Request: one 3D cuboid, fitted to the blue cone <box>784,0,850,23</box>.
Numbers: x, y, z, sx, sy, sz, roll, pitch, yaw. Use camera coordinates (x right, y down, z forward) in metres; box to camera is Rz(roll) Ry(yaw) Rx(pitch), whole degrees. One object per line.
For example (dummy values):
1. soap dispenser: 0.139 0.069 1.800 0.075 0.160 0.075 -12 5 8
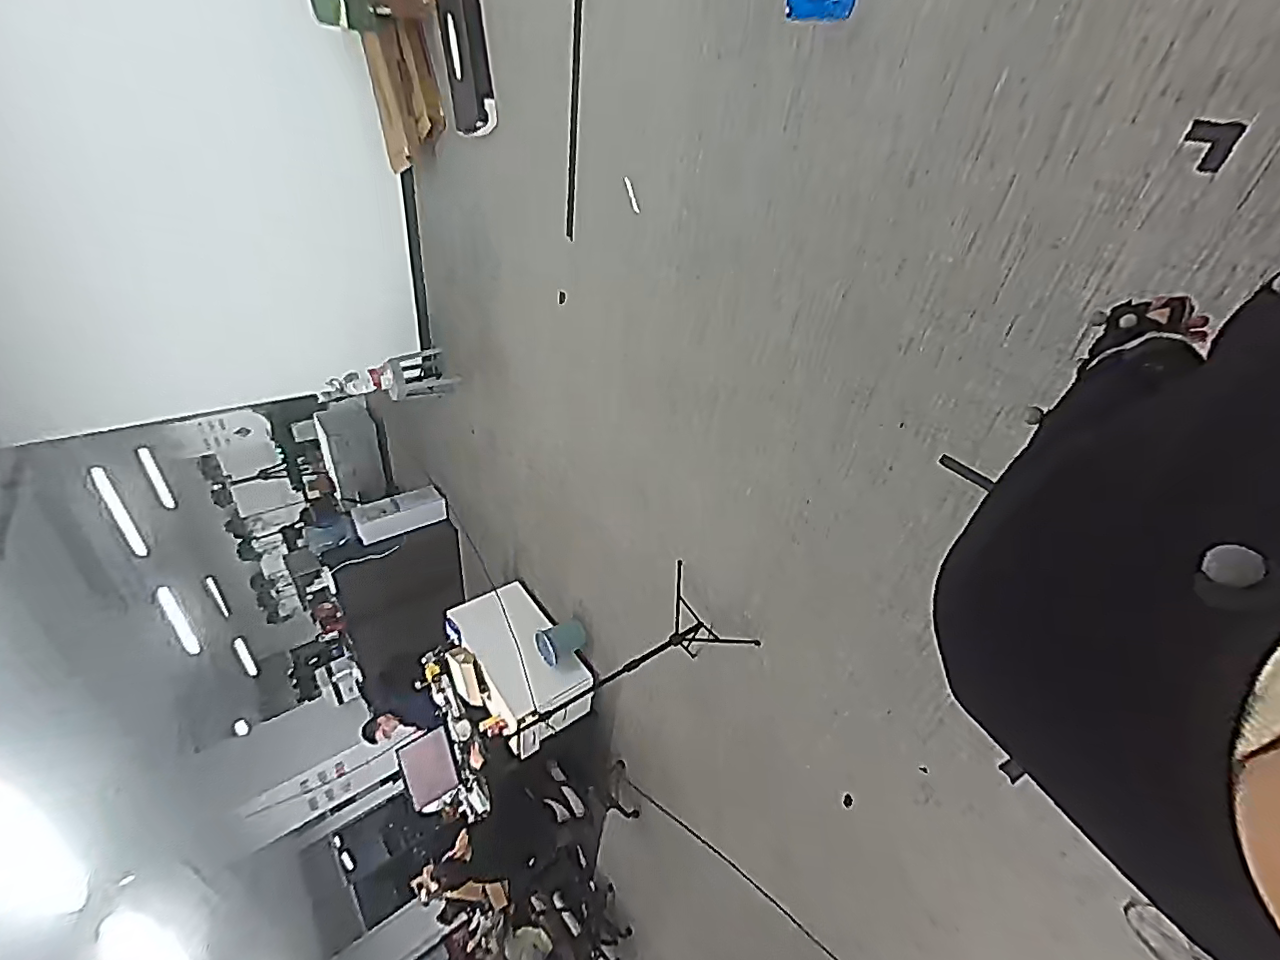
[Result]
1. blue cone: 0.299 -1.145 1.172 0.193 0.380 0.192 41 138 36
